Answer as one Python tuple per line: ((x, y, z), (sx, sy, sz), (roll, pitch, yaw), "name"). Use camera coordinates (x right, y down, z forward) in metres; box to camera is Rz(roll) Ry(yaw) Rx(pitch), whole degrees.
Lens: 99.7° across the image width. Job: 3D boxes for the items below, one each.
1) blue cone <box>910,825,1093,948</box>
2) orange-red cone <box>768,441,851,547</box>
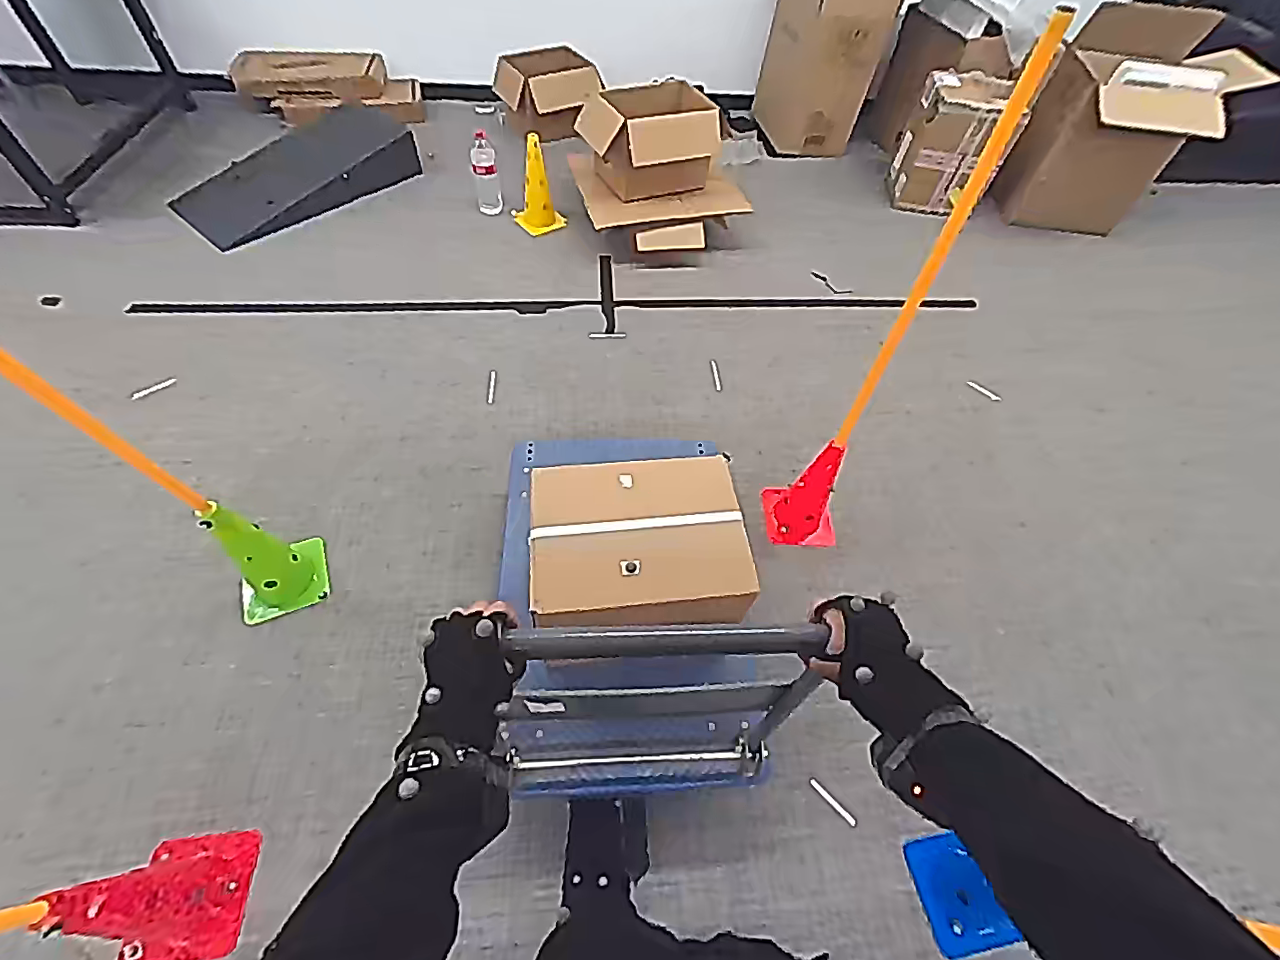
((0.697, 0.756, 1.007), (0.193, 0.380, 0.192), (-5, 54, -8), "blue cone")
((0.501, 0.014, 1.497), (0.199, 0.360, 0.198), (4, 55, -3), "orange-red cone")
